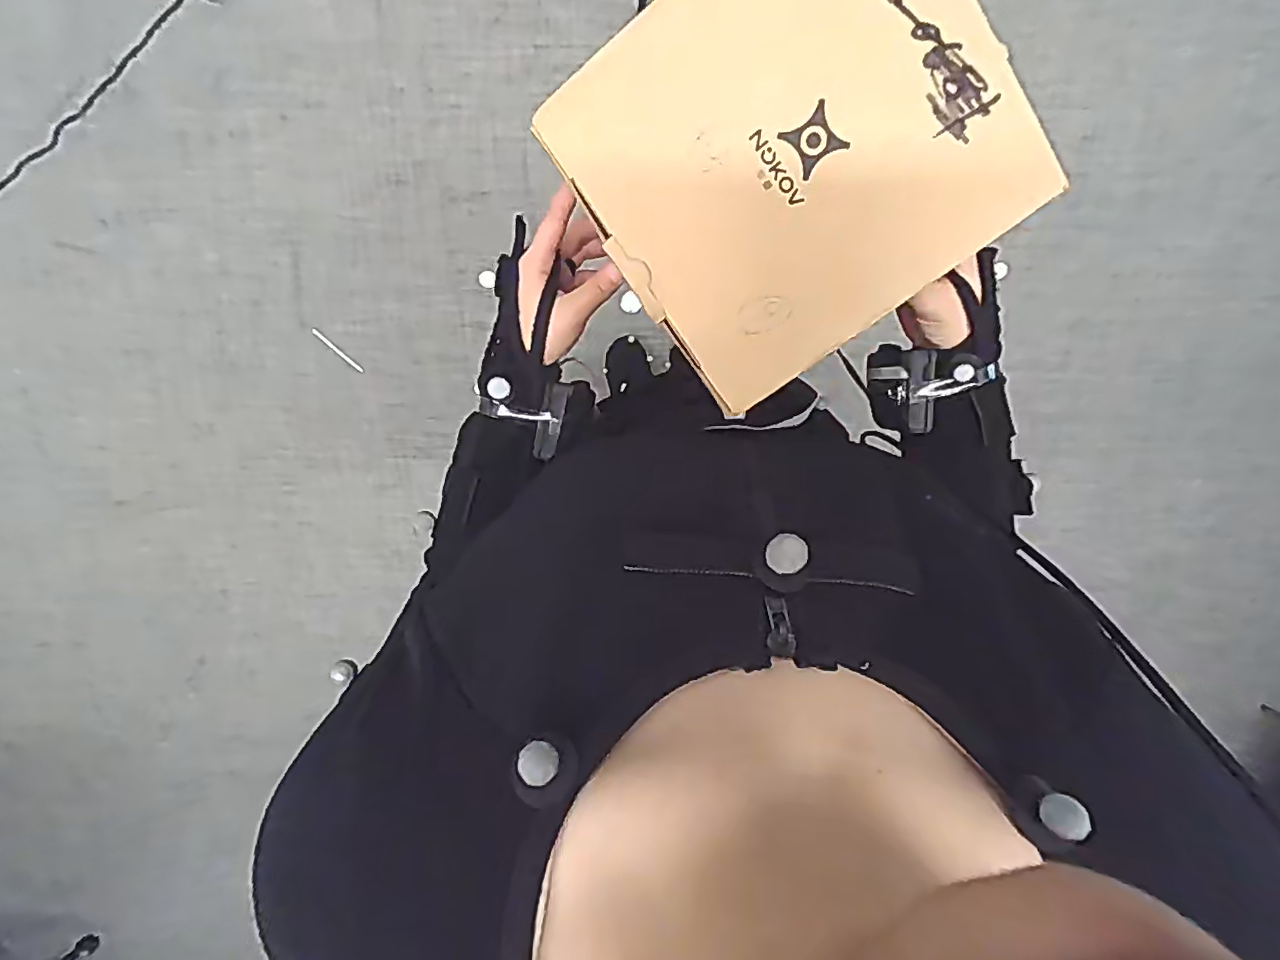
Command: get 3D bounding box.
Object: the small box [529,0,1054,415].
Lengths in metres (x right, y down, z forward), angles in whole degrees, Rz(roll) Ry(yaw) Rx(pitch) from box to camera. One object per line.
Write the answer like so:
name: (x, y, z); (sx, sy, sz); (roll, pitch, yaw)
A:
small box: (0.071, -0.161, 0.315); (0.179, 0.176, 0.168); (-34, 100, 13)
